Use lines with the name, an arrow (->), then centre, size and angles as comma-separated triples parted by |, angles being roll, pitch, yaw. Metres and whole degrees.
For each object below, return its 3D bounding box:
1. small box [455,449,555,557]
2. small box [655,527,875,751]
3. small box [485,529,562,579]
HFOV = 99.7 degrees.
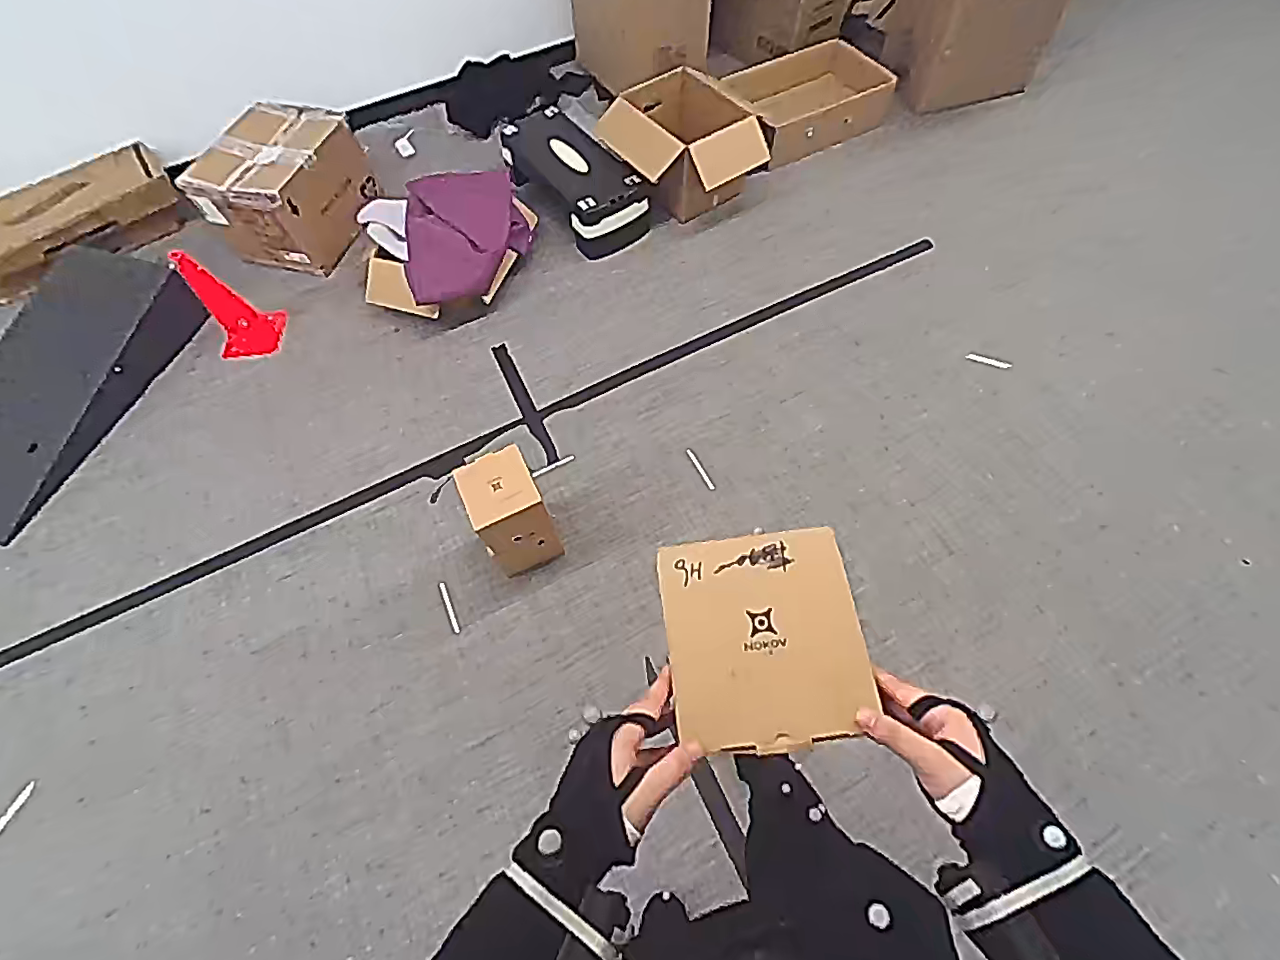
small box -> -0.324, 0.061, 1.324 | 0.168, 0.176, 0.179 | -26, 65, -9
small box -> 0.110, 0.163, 0.546 | 0.168, 0.176, 0.179 | -8, 67, 1
small box -> -0.321, 0.143, 1.464 | 0.179, 0.176, 0.168 | -24, 64, -9
